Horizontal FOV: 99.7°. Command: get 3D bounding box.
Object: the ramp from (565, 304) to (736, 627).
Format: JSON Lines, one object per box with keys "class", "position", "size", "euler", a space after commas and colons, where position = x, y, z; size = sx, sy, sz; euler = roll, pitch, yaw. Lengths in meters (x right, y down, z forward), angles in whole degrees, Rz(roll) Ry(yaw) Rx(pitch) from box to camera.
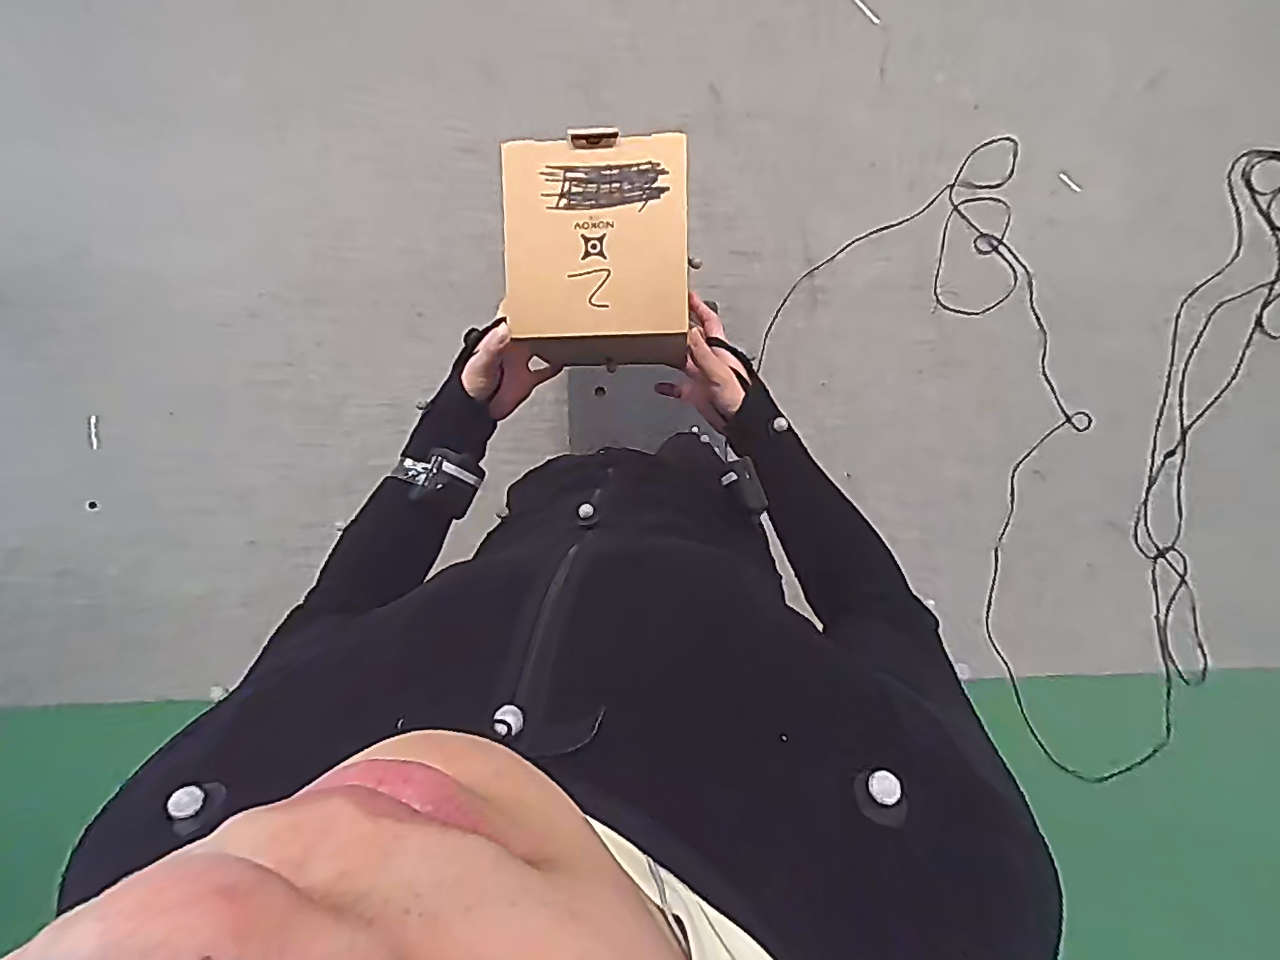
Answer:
{"class": "ramp", "position": [0.022, -0.064, 1.672], "size": [0.509, 0.206, 0.991], "euler": [-4, 93, -1]}
